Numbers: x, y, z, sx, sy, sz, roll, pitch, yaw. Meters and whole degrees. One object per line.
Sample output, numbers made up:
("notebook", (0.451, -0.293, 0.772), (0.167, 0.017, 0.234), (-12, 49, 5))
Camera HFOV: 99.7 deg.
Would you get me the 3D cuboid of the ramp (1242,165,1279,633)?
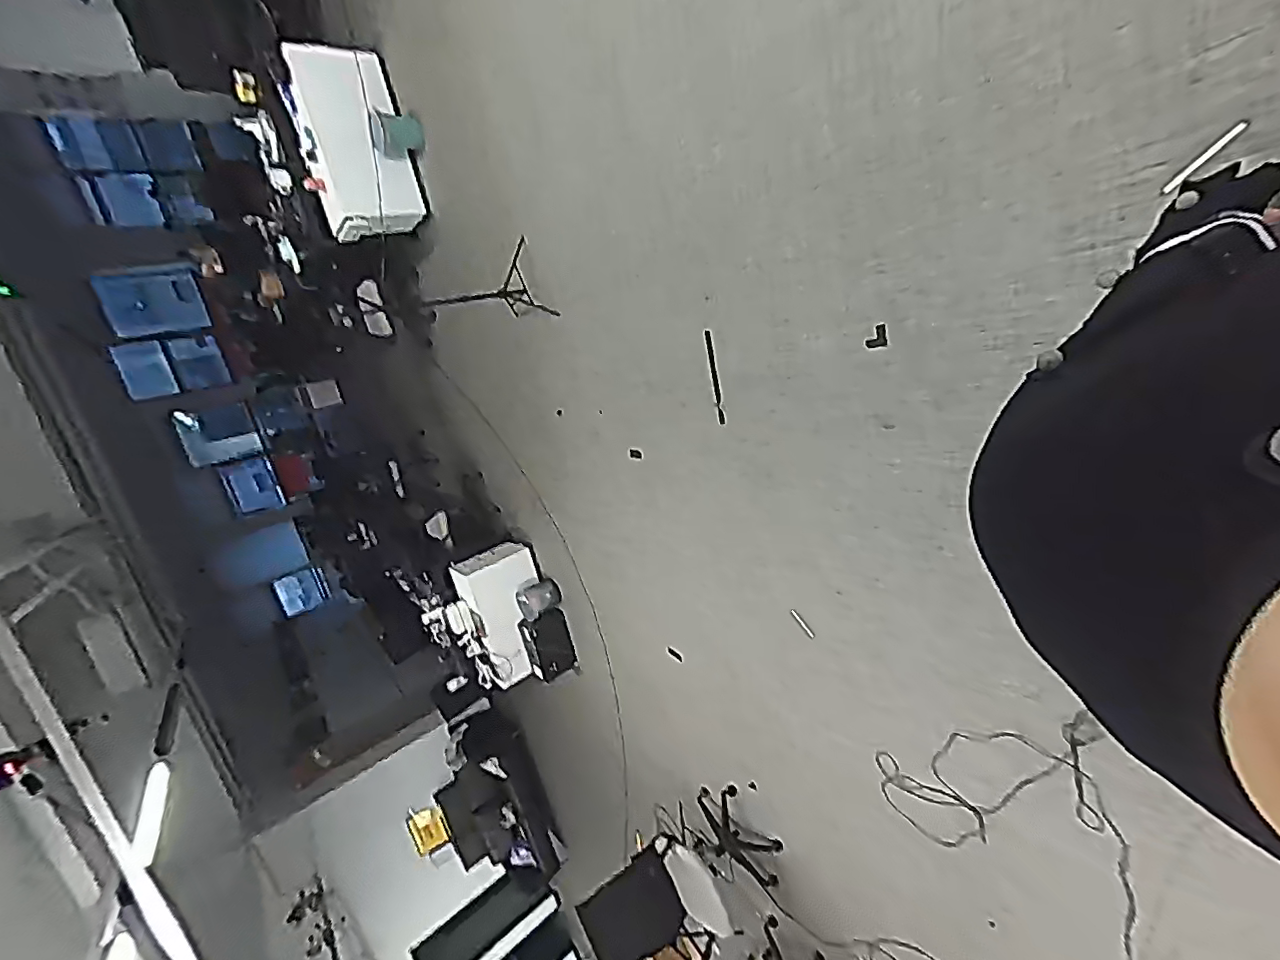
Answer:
("ramp", (1.374, -0.084, 0.904), (0.509, 0.206, 0.991), (1, 110, 52))
